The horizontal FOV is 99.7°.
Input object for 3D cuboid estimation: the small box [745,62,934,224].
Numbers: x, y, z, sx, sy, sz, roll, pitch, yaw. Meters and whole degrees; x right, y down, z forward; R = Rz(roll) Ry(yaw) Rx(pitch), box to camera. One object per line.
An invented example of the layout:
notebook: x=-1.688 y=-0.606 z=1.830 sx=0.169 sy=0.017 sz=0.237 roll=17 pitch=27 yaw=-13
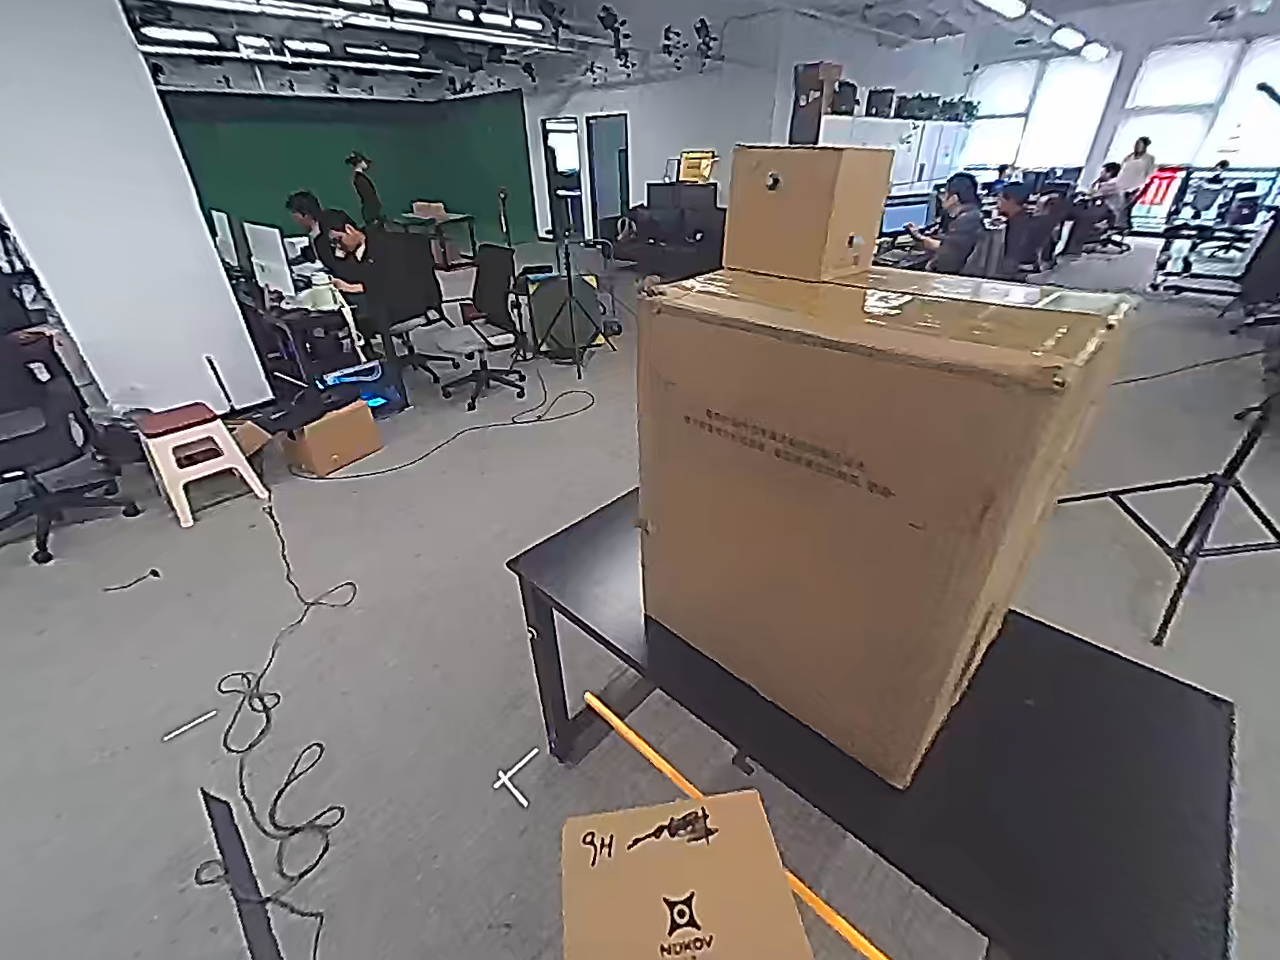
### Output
small box: x=0.263 y=-0.452 z=0.744 sx=0.179 sy=0.176 sz=0.168 roll=28 pitch=40 yaw=36

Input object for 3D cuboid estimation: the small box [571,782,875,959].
small box: x=0.049 y=0.332 z=0.339 sx=0.168 sy=0.176 sz=0.179 roll=-6 pitch=31 yaw=-7
